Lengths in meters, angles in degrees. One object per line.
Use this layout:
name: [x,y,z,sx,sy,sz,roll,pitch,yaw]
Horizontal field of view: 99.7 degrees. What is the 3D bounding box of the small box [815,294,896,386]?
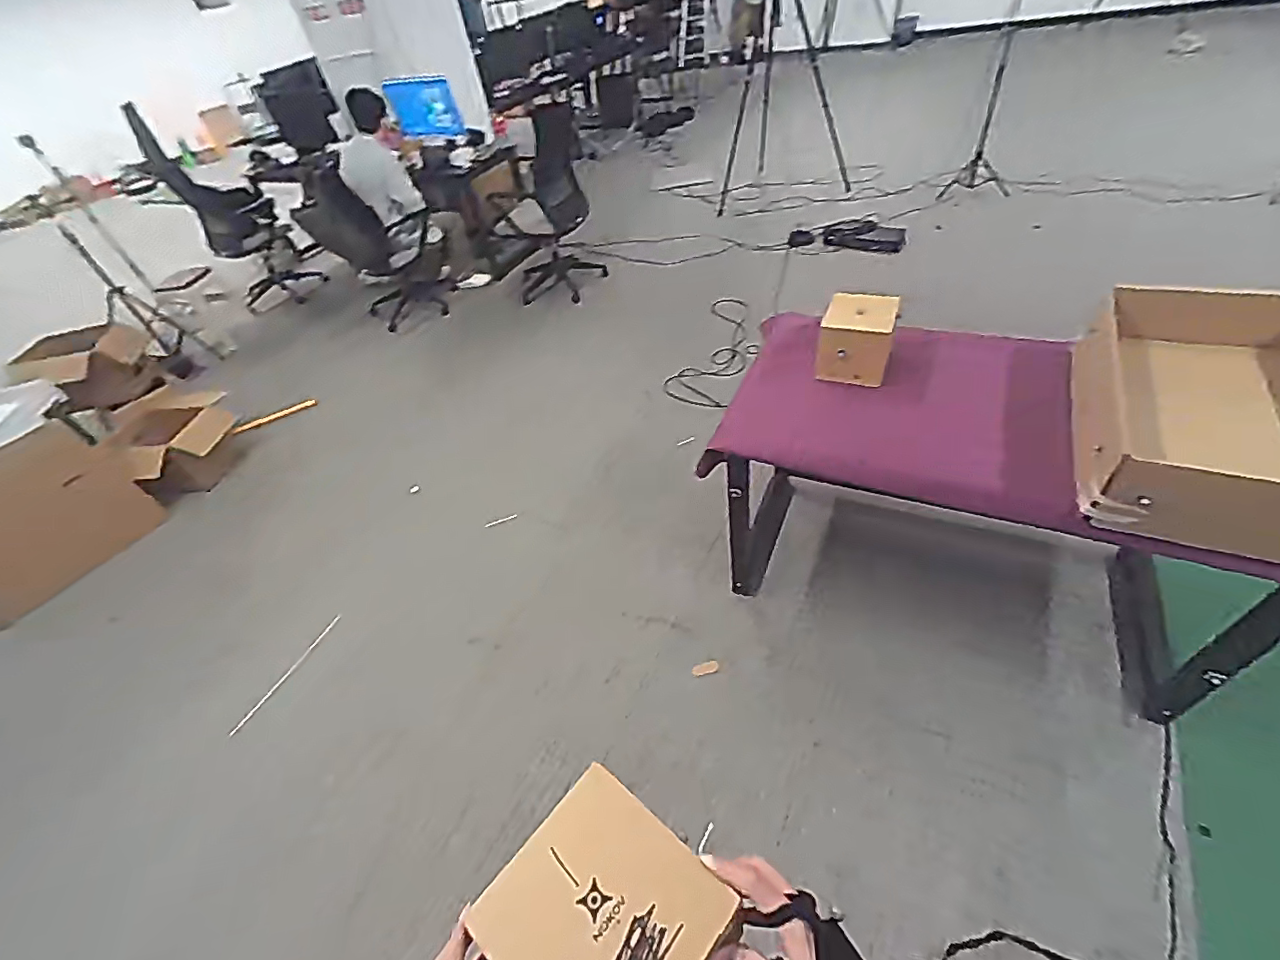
small box: [0.566,-0.369,1.431,0.168,0.176,0.179,13,49,23]
